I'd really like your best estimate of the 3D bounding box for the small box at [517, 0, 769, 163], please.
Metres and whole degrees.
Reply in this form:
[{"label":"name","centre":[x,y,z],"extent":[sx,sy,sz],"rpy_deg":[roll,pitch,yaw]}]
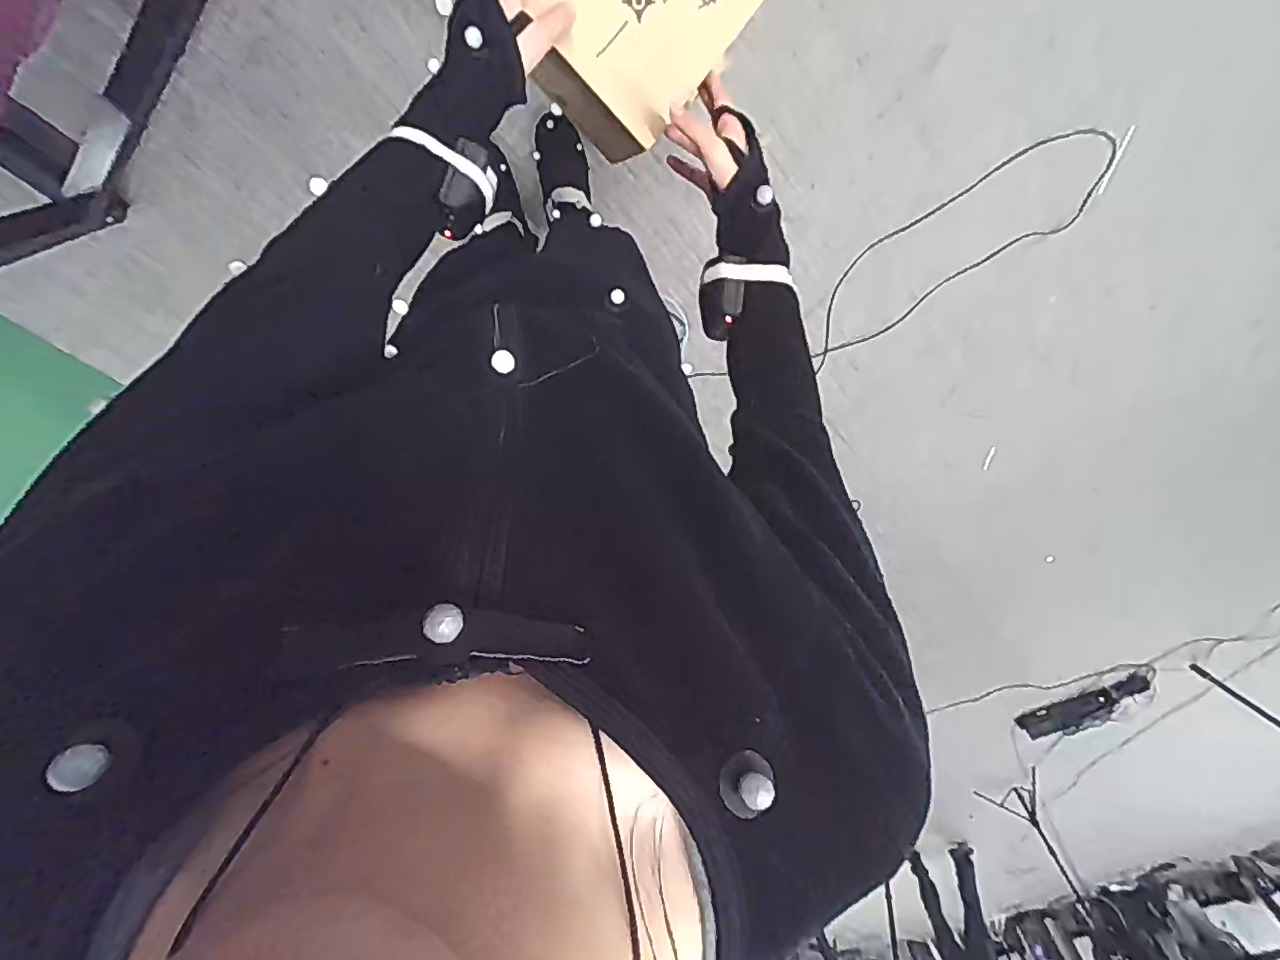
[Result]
[{"label":"small box","centre":[-0.012,-0.456,0.545],"extent":[0.168,0.176,0.179],"rpy_deg":[36,102,-27]}]
